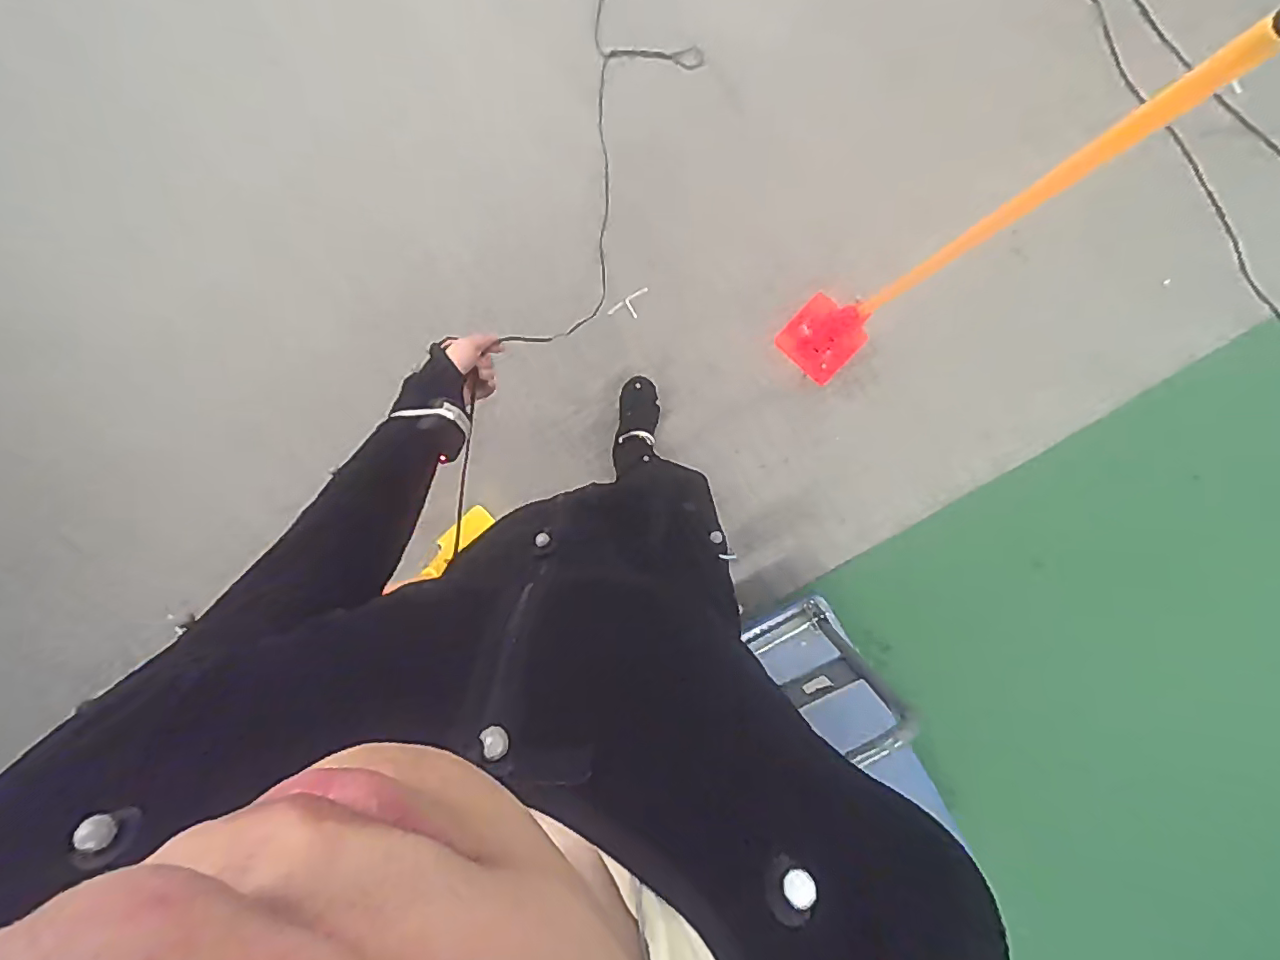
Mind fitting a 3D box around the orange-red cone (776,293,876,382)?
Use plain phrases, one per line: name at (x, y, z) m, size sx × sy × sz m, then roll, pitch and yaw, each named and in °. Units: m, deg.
orange-red cone at (0.511, -0.395, 1.373) m, size 0.198 × 0.360 × 0.199 m, roll 44°, pitch 94°, yaw -2°
